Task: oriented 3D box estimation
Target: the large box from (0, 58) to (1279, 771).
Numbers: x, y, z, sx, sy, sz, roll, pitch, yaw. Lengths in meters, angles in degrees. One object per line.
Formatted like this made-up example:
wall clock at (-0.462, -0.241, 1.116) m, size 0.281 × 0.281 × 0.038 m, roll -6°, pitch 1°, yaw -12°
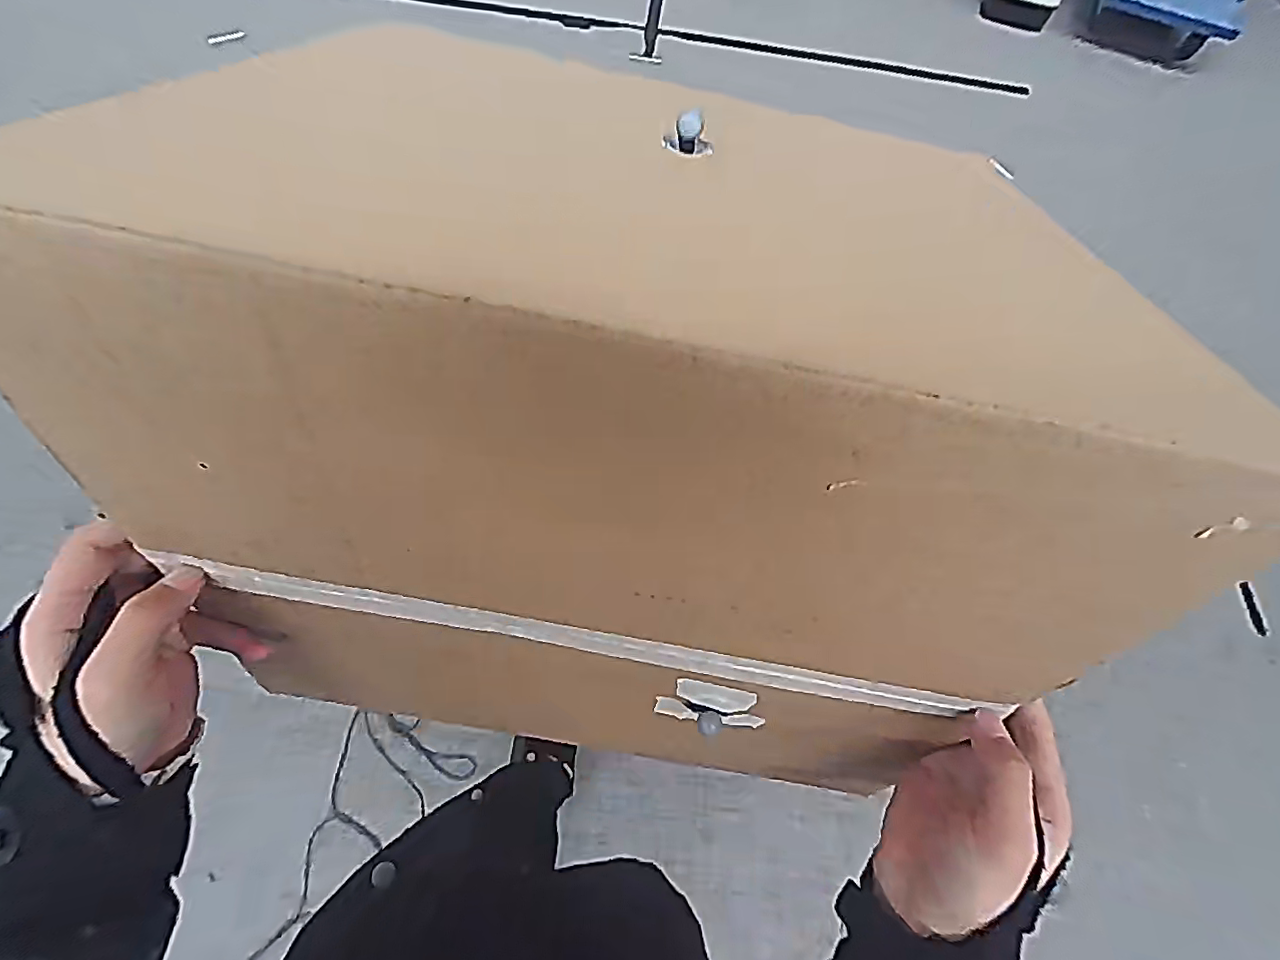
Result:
large box at (-0.008, -0.041, 0.364) m, size 0.408 × 0.320 × 0.320 m, roll 10°, pitch 47°, yaw -2°
